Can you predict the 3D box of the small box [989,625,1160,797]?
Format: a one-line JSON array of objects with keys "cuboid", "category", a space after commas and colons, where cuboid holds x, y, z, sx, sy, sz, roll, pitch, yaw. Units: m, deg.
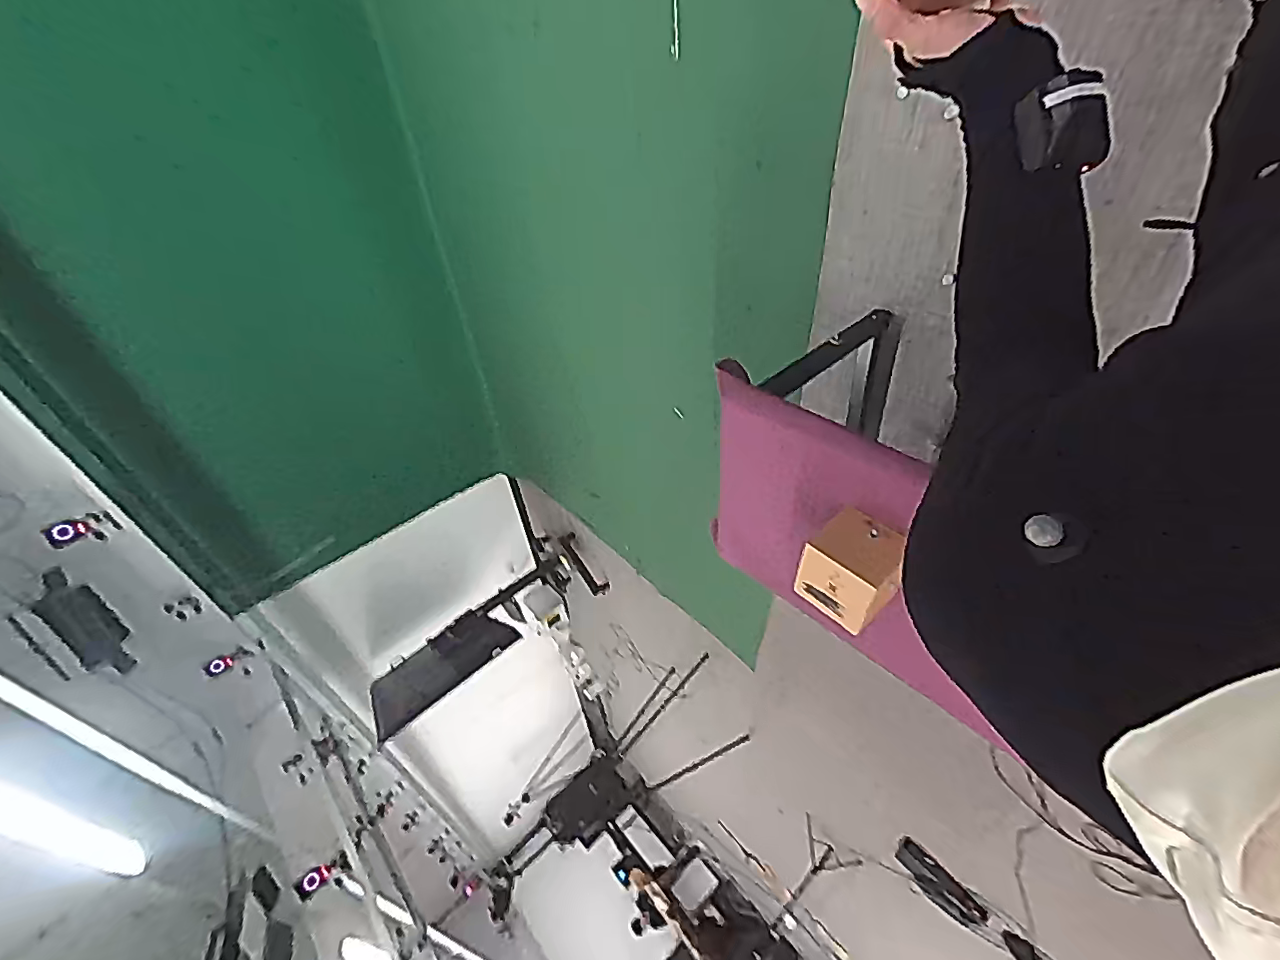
[{"cuboid": [0.749, 0.393, 0.937, 0.168, 0.176, 0.179, 30, 142, 40], "category": "small box"}]
